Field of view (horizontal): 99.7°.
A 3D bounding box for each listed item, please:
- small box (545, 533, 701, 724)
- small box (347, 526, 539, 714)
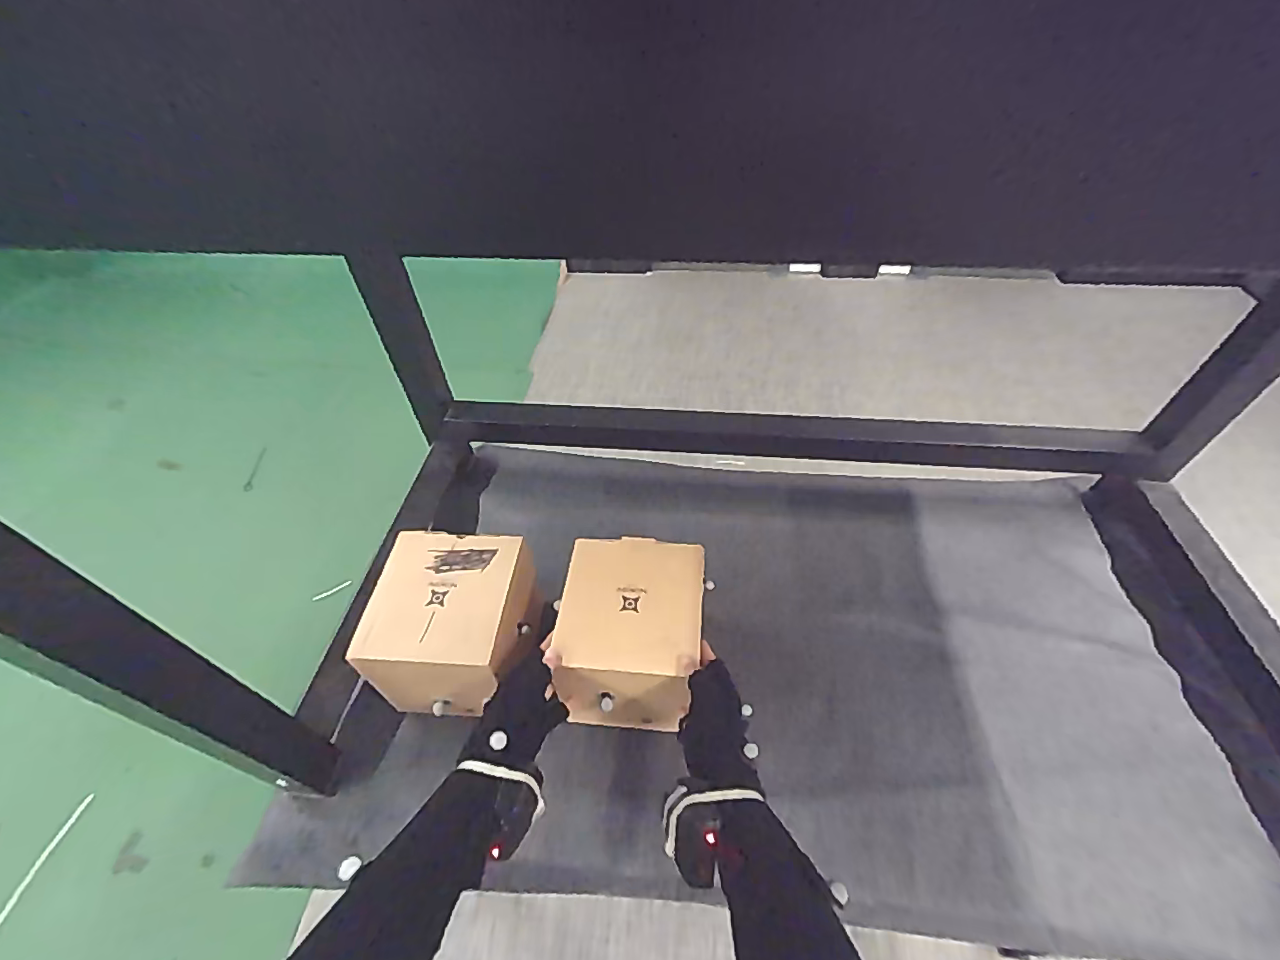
[{"bbox_3d":[-0.009,0.189,0.685,0.168,0.176,0.179,3,45,6],"label":"small box"},{"bbox_3d":[-0.235,0.181,0.704,0.168,0.176,0.179,2,48,4],"label":"small box"}]
